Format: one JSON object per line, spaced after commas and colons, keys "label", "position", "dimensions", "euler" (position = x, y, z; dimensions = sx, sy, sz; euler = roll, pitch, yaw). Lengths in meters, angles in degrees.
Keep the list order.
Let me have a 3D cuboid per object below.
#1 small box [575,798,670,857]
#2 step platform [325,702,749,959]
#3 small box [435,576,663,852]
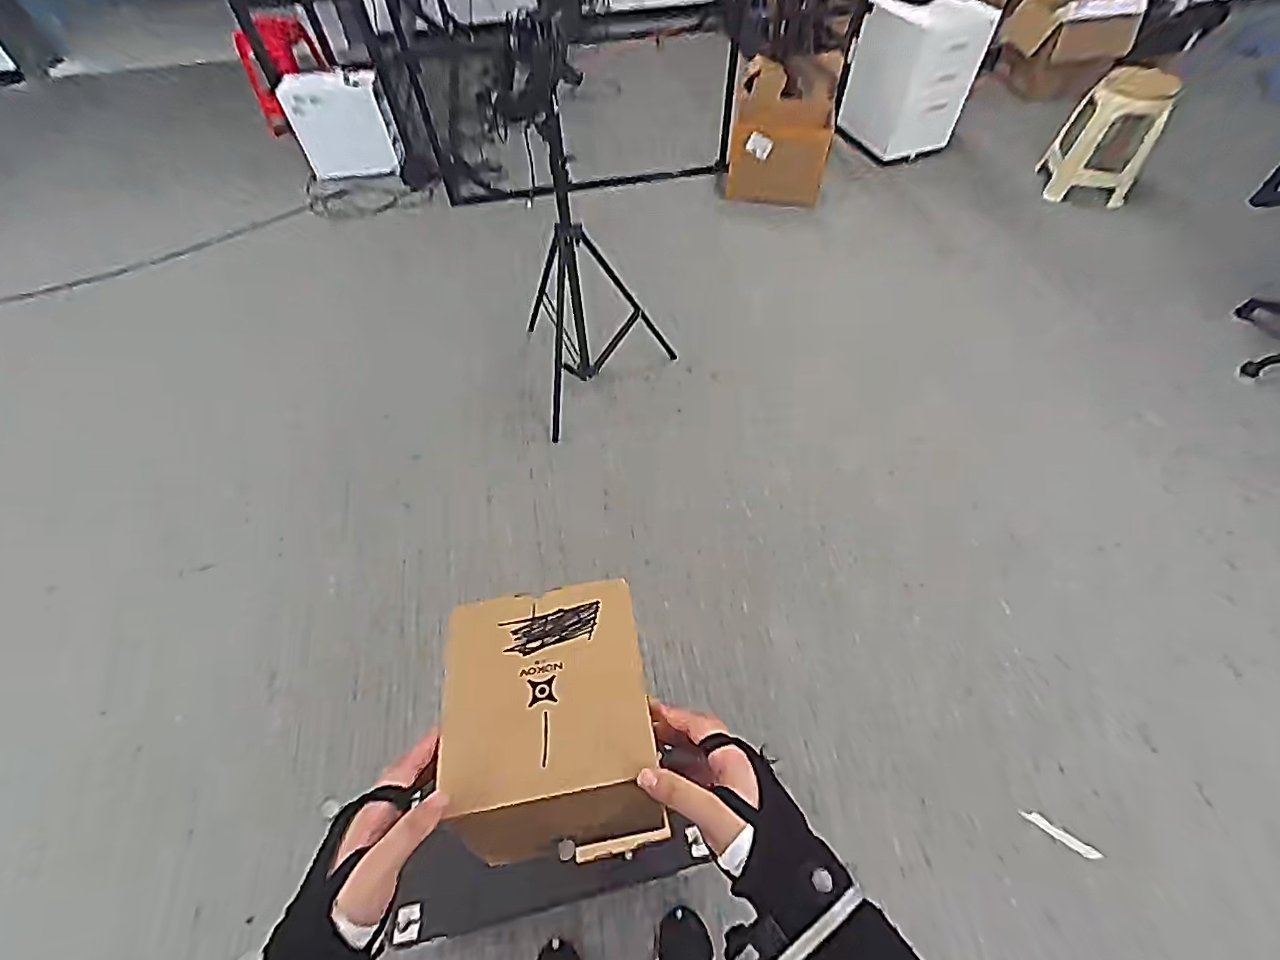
{"label": "small box", "position": [-0.044, 0.604, 1.040], "dimensions": [0.168, 0.176, 0.179], "euler": [-13, 56, -6]}
{"label": "step platform", "position": [-0.165, 0.639, 0.976], "dimensions": [0.684, 0.204, 0.286], "euler": [-11, 55, -7]}
{"label": "small box", "position": [-0.075, 0.217, 0.503], "dimensions": [0.168, 0.176, 0.179], "euler": [-9, 48, -4]}
